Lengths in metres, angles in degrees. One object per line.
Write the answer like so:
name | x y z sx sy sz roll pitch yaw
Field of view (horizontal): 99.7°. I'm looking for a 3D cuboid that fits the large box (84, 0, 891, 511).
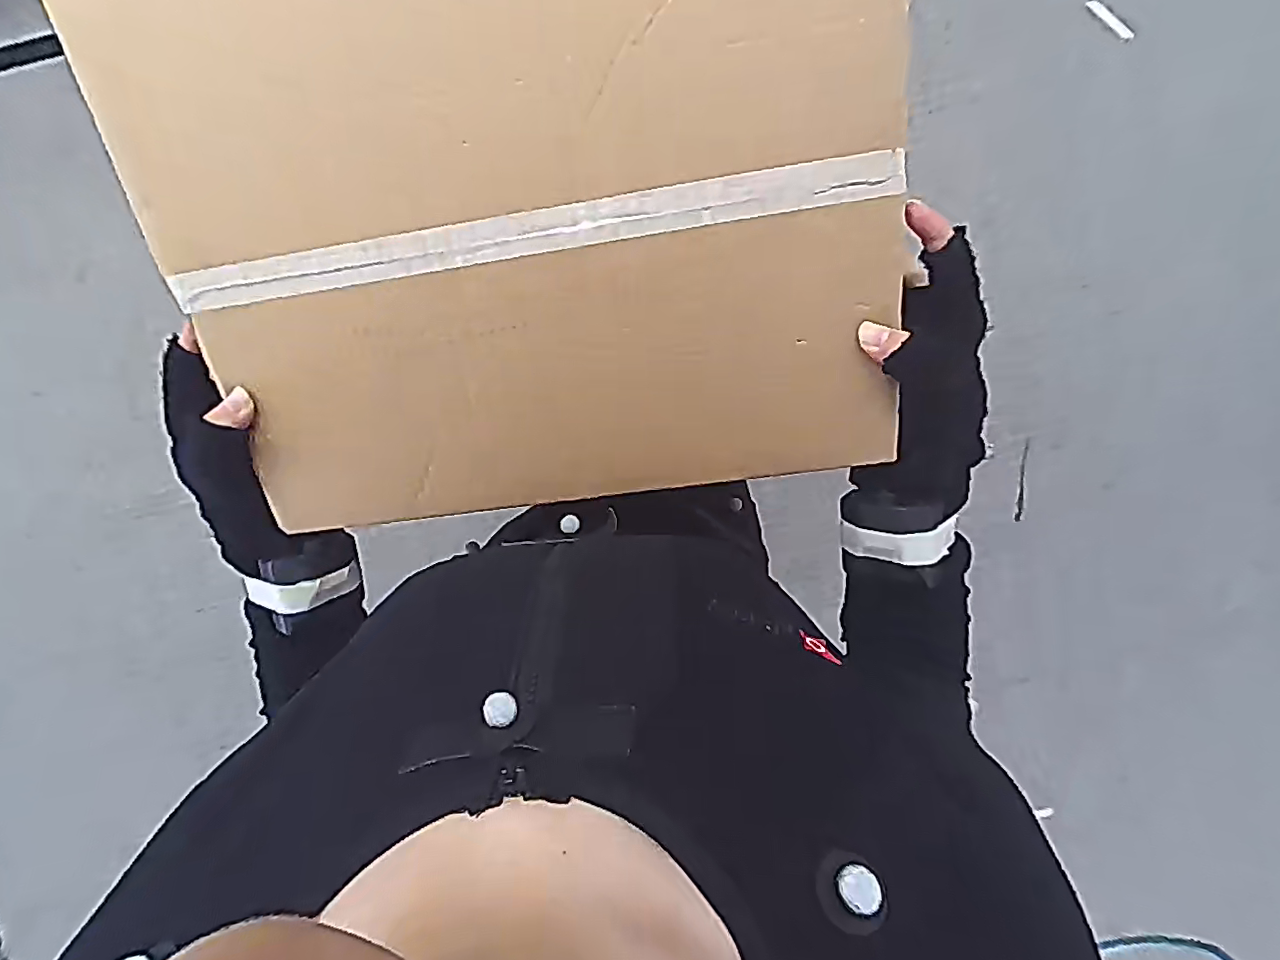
large box | -0.061 -0.199 0.441 0.408 0.320 0.320 -7 112 5
